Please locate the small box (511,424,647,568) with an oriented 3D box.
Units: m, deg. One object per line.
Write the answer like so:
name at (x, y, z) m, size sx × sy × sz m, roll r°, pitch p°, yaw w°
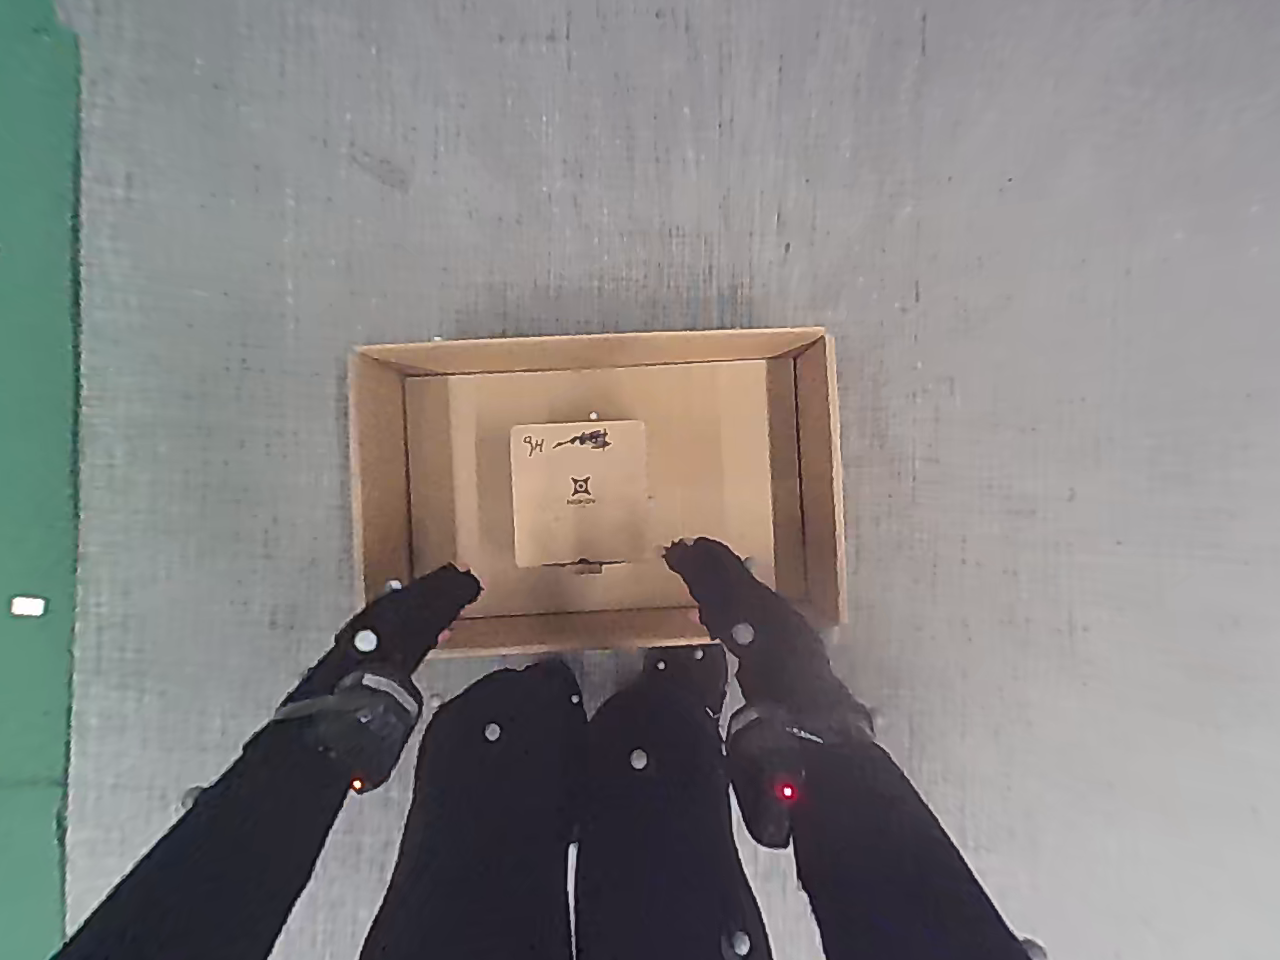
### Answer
small box at (-0.074, 0.018, 0.743) m, size 0.168 × 0.176 × 0.179 m, roll -2°, pitch 91°, yaw 0°
